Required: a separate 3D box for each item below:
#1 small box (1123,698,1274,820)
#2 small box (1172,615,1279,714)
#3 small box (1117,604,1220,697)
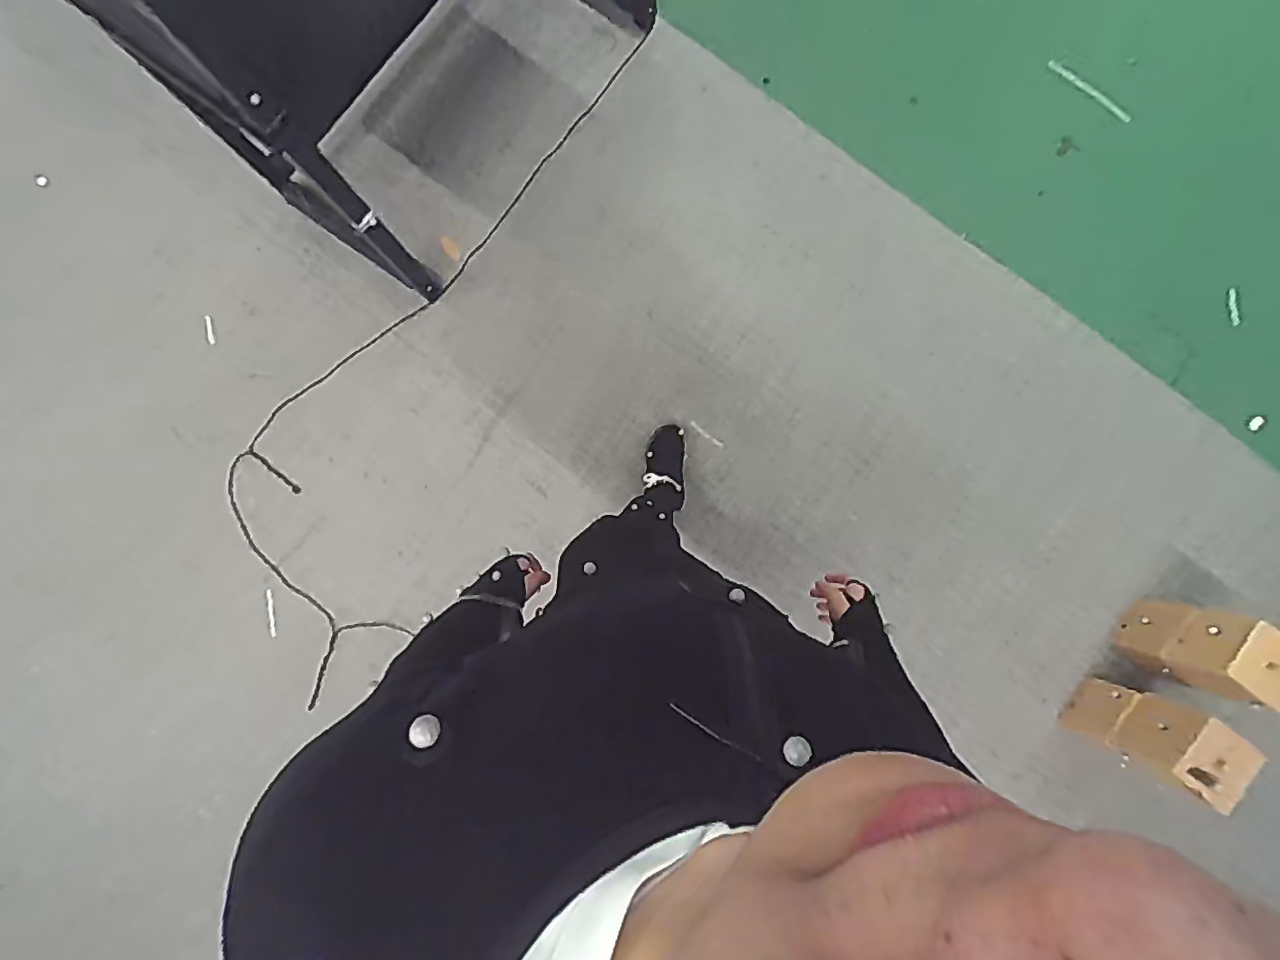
[{"bbox_3d":[1.365,0.681,1.340,0.168,0.176,0.179,41,86,2],"label":"small box"},{"bbox_3d":[1.519,0.459,1.360,0.179,0.176,0.168,37,86,2],"label":"small box"},{"bbox_3d":[1.520,0.469,1.522,0.179,0.176,0.168,39,87,2],"label":"small box"}]
